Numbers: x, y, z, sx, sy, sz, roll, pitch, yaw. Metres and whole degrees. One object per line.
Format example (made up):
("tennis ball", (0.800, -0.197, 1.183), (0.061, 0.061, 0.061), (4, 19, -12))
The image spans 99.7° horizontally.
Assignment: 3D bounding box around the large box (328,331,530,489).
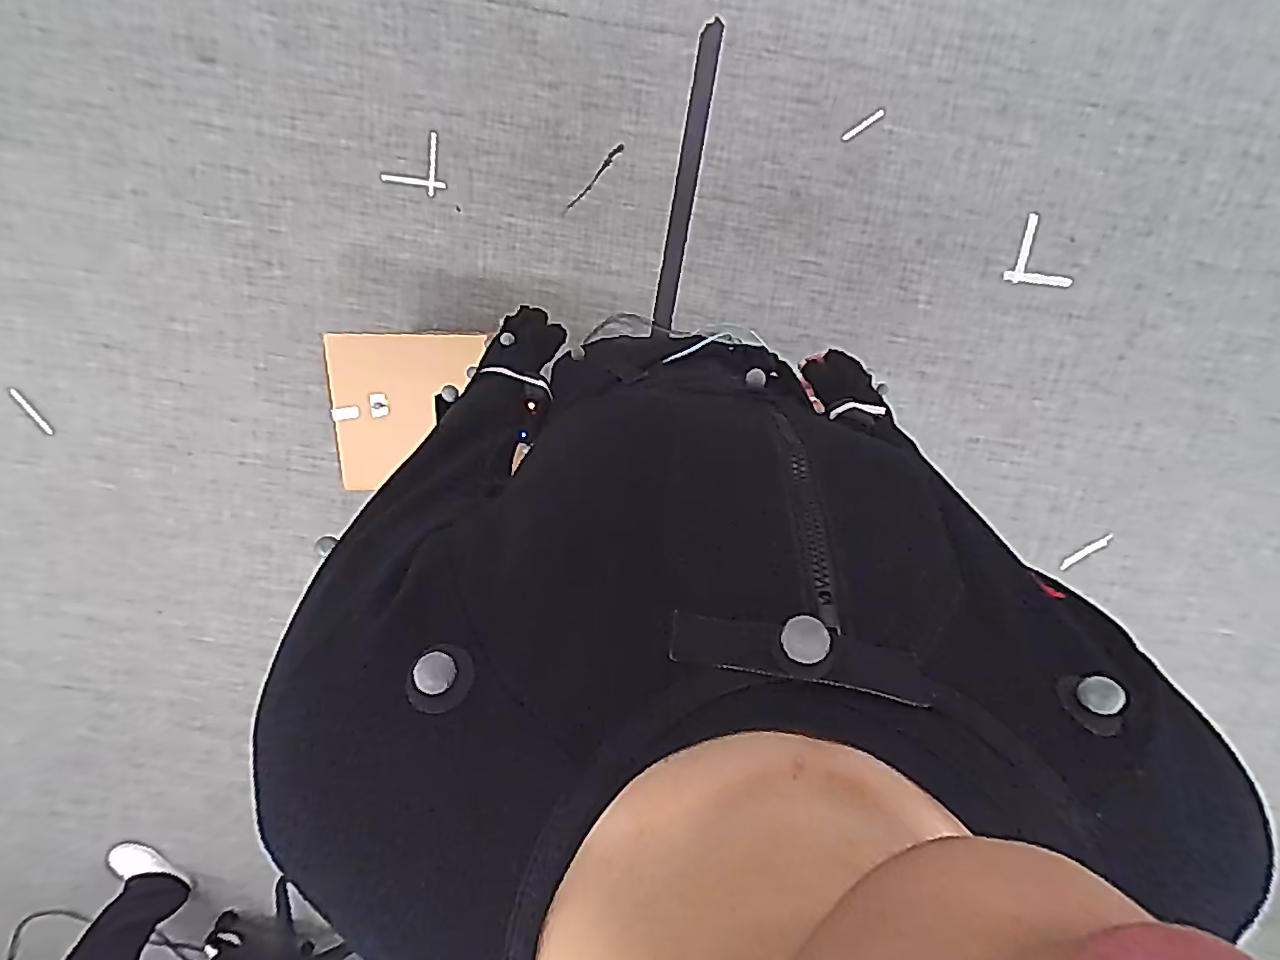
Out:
("large box", (-0.451, -0.183, 1.254), (0.320, 0.408, 0.320), (1, 106, -2))
